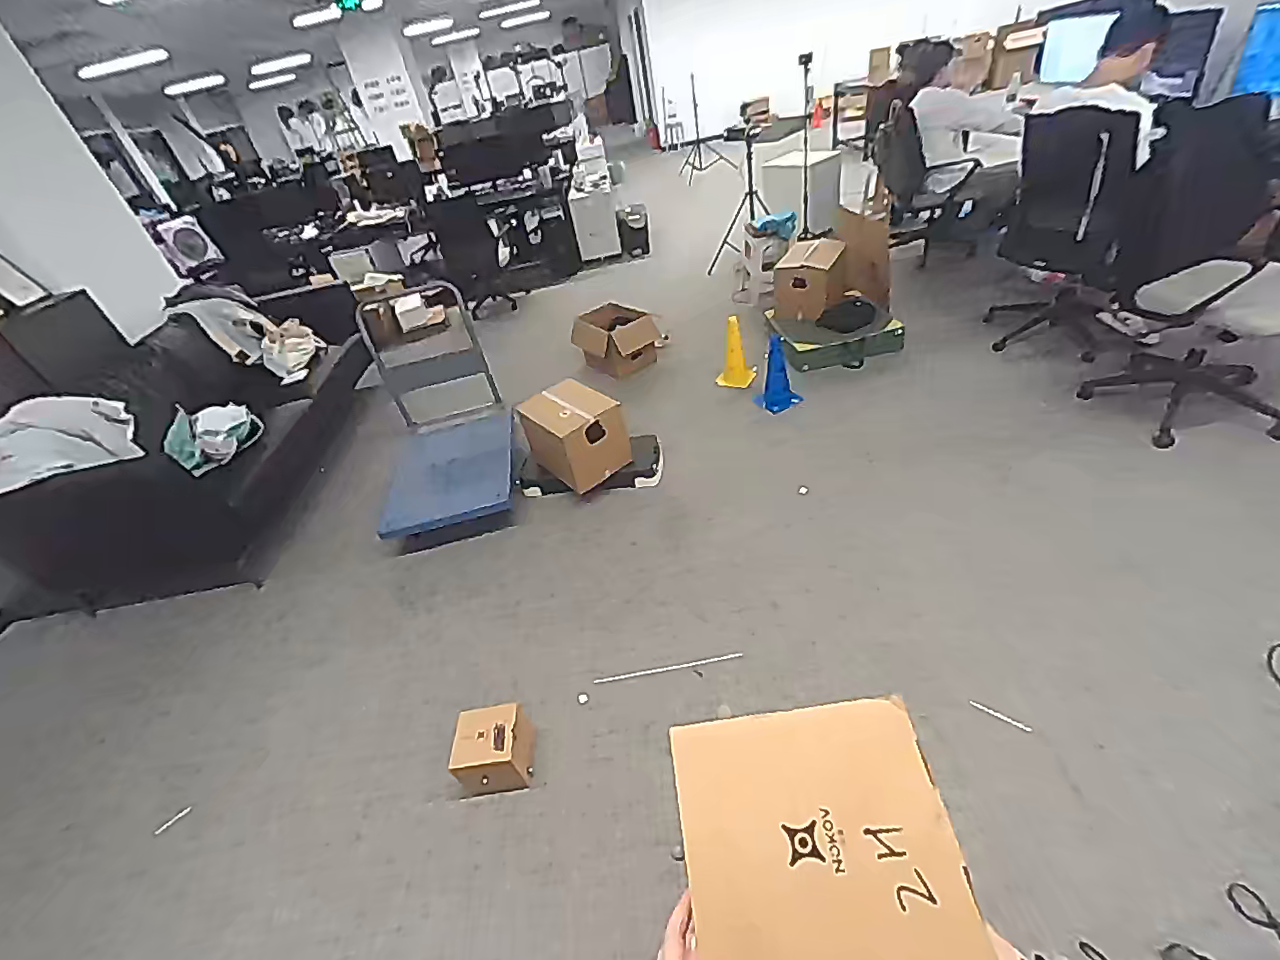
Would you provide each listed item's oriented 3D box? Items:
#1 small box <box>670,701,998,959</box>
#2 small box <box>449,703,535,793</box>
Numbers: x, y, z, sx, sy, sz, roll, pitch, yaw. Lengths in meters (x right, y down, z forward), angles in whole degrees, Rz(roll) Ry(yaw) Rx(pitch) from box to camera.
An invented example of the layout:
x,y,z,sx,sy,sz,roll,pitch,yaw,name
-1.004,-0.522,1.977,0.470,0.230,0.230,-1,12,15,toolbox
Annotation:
x,y,z,sx,sy,sz,roll,pitch,yaw,name
0.126,0.283,0.416,0.179,0.176,0.168,-9,56,2,small box
-0.410,0.762,1.534,0.179,0.176,0.168,-11,38,5,small box
